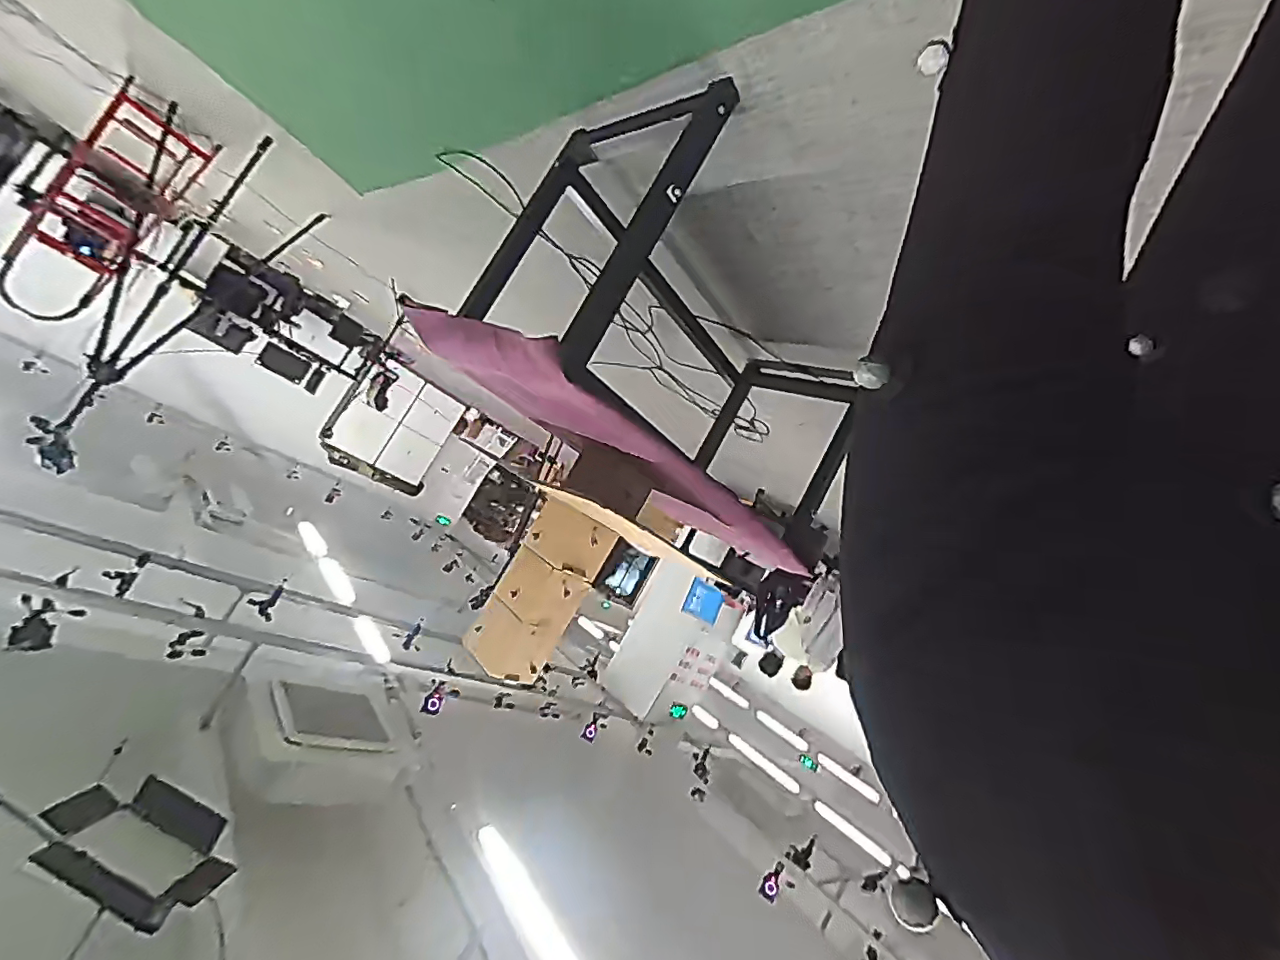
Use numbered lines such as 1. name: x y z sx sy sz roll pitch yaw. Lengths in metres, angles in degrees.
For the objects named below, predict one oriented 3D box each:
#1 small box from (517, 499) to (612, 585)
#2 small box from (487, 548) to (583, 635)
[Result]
1. small box: -0.214 0.172 1.562 0.179 0.176 0.168 24 172 43
2. small box: -0.296 0.312 1.545 0.179 0.176 0.168 24 171 44
